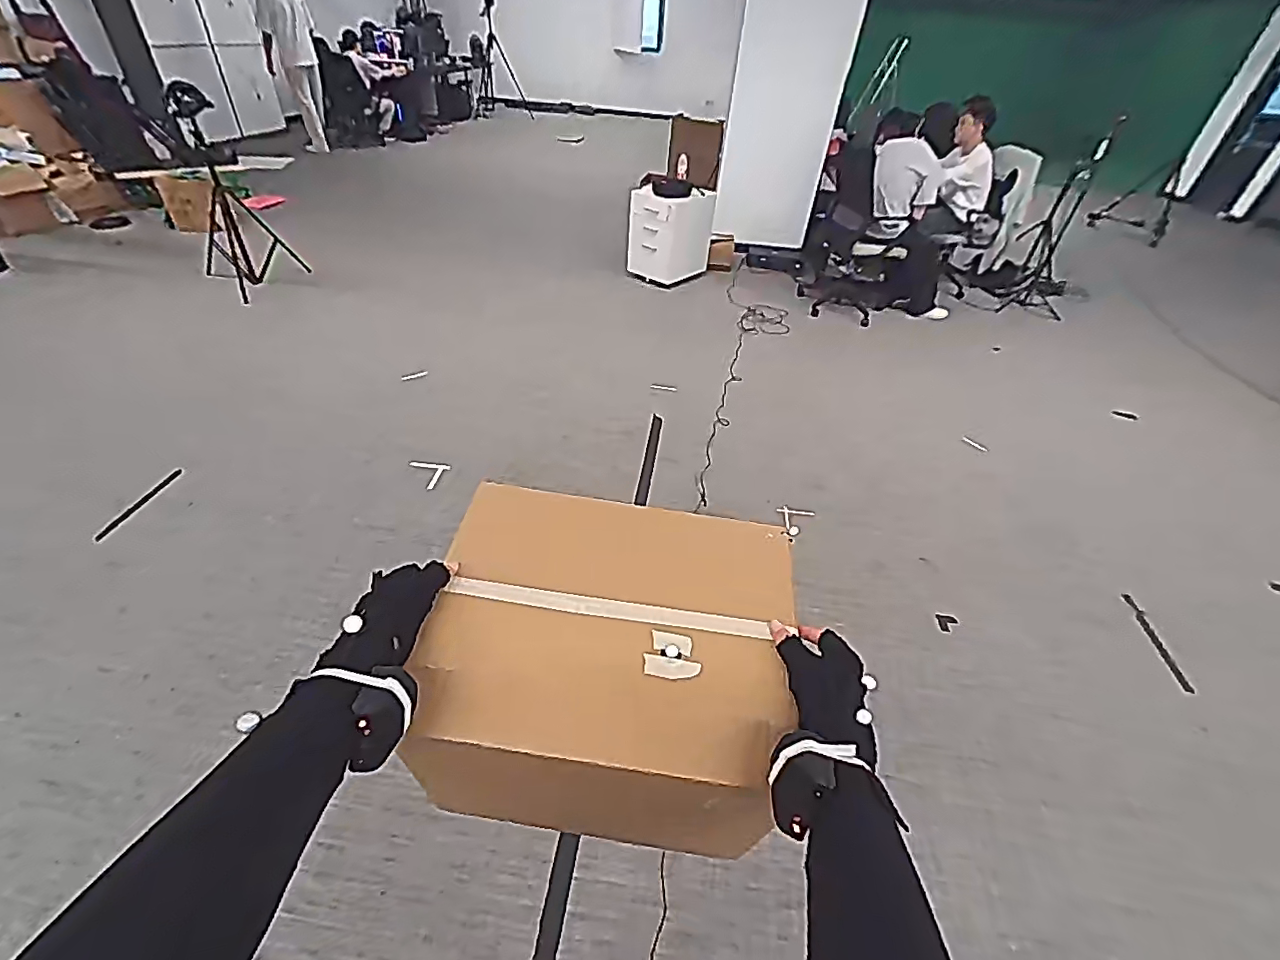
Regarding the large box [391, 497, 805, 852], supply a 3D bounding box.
[{"bbox_3d":[-0.041,0.258,0.716,0.408,0.320,0.320,8,47,1],"label":"large box"}]
